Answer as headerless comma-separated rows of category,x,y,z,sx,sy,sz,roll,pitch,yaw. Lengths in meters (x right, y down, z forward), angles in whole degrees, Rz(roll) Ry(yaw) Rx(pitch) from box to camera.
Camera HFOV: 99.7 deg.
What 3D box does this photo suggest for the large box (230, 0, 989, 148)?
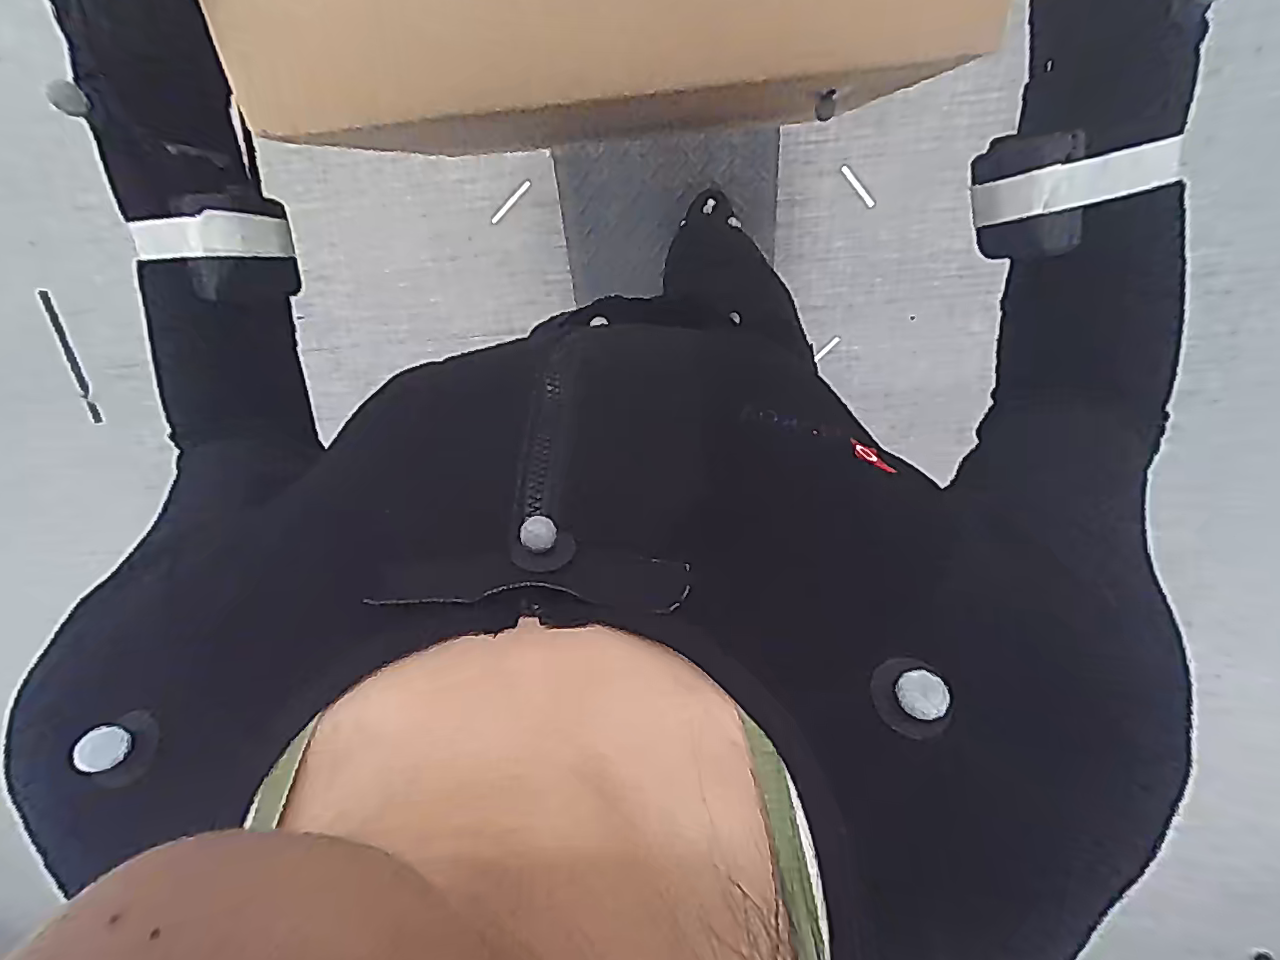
large box,-0.023,-0.423,0.356,0.408,0.320,0.320,-3,119,6
